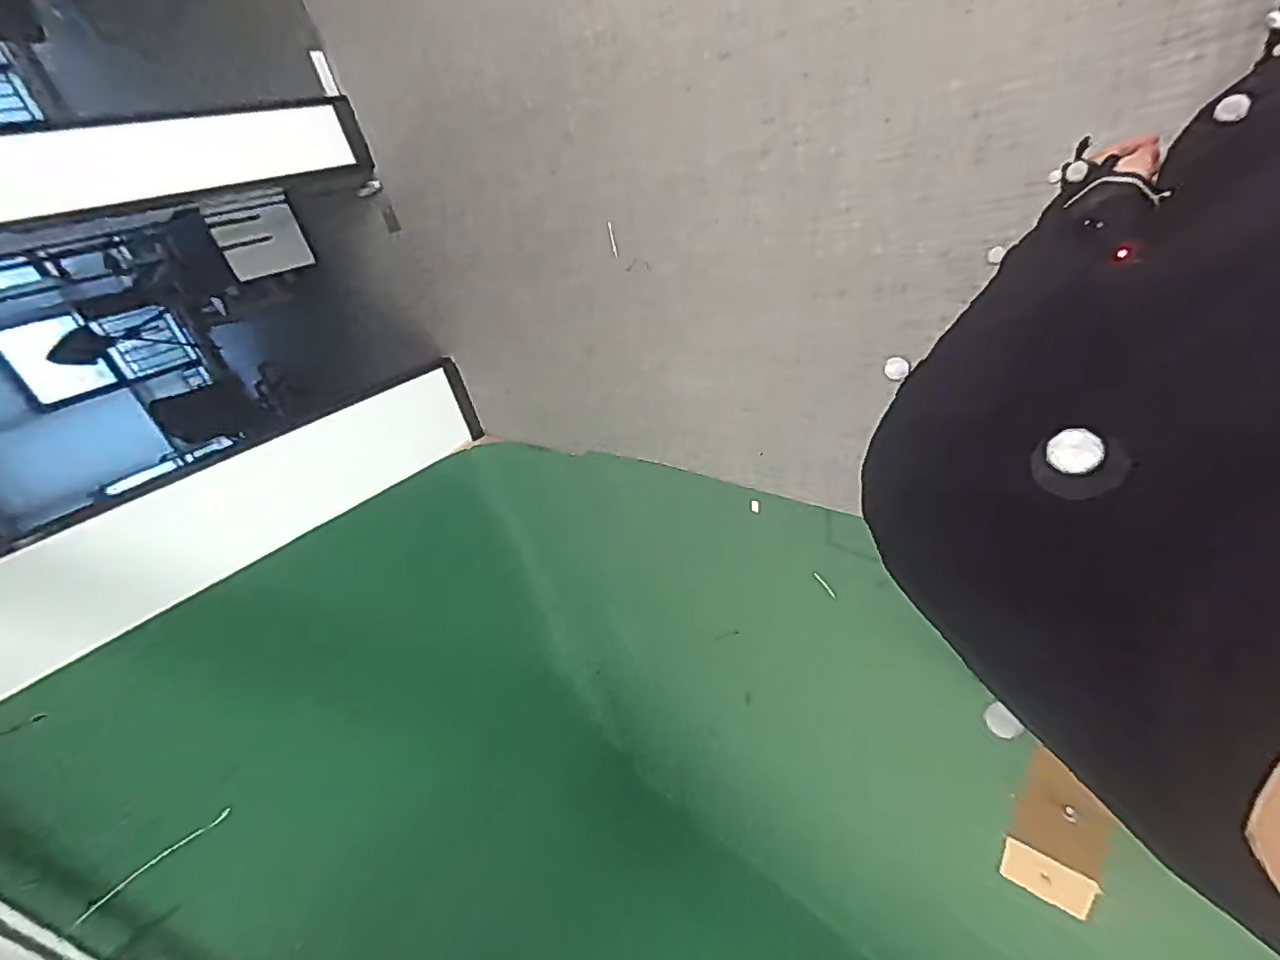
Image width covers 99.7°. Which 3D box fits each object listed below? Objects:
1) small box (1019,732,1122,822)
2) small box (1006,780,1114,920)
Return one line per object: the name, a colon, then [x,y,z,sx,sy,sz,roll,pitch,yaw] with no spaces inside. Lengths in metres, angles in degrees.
small box: [1.084,0.779,1.362,0.168,0.176,0.179,16,131,40]
small box: [0.980,0.855,1.262,0.168,0.176,0.179,13,129,41]
